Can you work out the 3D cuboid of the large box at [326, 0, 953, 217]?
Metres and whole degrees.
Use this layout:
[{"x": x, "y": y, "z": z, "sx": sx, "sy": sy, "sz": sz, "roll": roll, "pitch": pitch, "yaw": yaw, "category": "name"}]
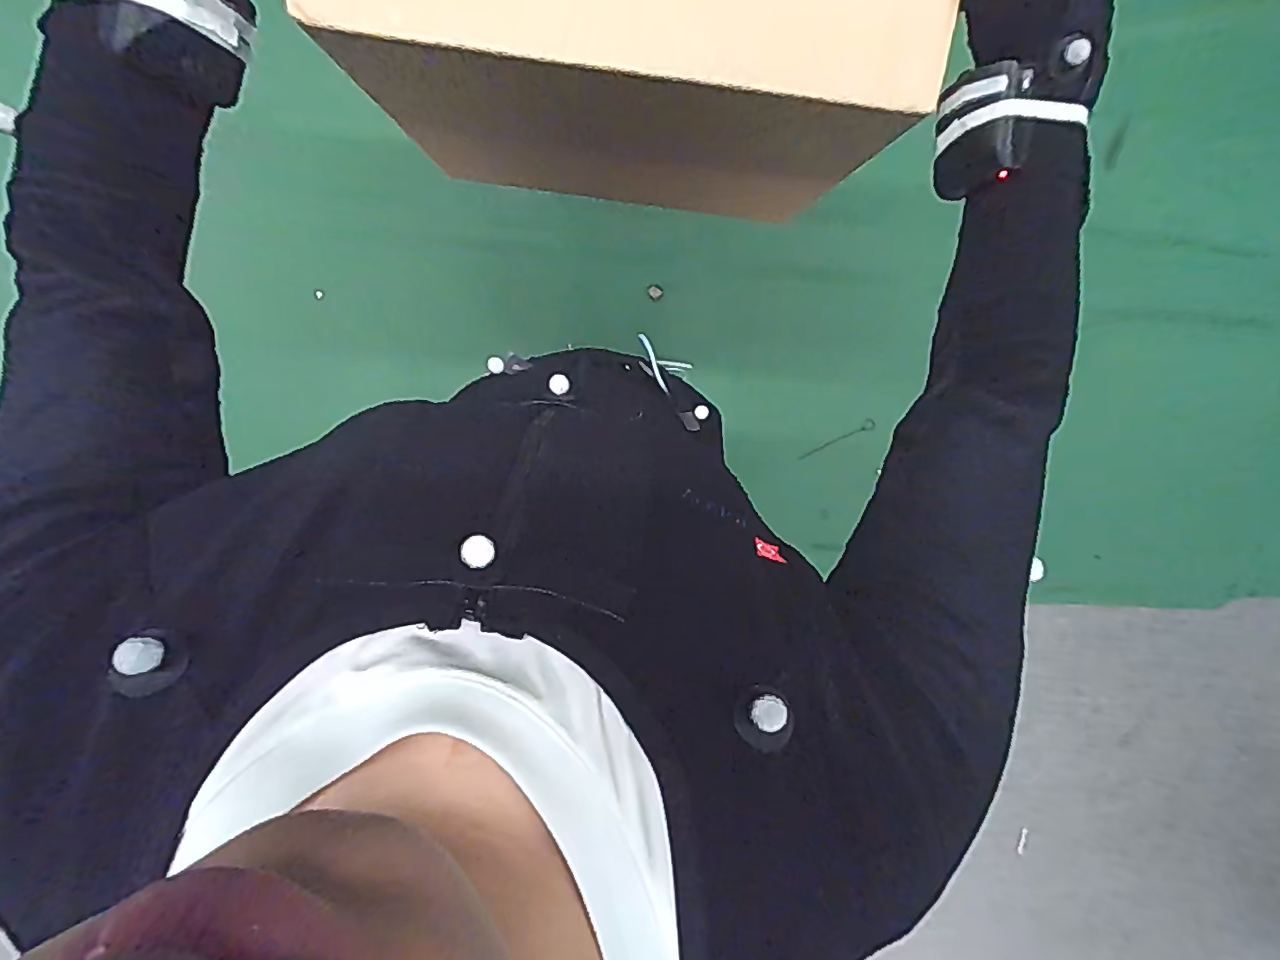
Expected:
[{"x": 0.005, "y": -0.445, "z": 0.461, "sx": 0.408, "sy": 0.320, "sz": 0.320, "roll": 5, "pitch": 103, "yaw": -5, "category": "large box"}]
